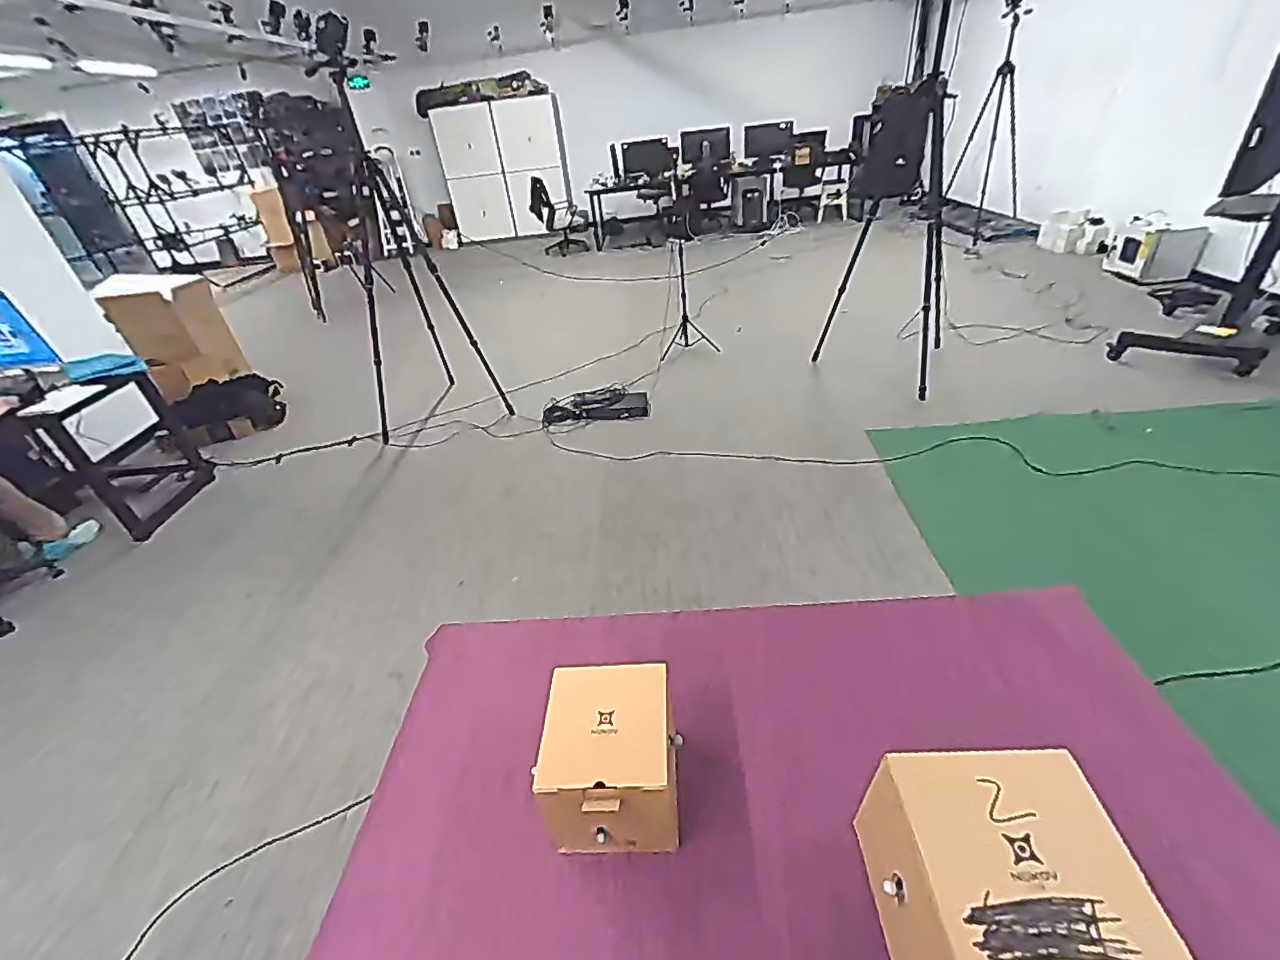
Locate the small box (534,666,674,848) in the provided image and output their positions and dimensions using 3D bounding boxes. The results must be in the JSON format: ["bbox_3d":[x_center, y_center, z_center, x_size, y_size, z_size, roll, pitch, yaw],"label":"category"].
[{"bbox_3d":[-0.040,0.391,0.771,0.168,0.176,0.179,-4,35,5],"label":"small box"}]
